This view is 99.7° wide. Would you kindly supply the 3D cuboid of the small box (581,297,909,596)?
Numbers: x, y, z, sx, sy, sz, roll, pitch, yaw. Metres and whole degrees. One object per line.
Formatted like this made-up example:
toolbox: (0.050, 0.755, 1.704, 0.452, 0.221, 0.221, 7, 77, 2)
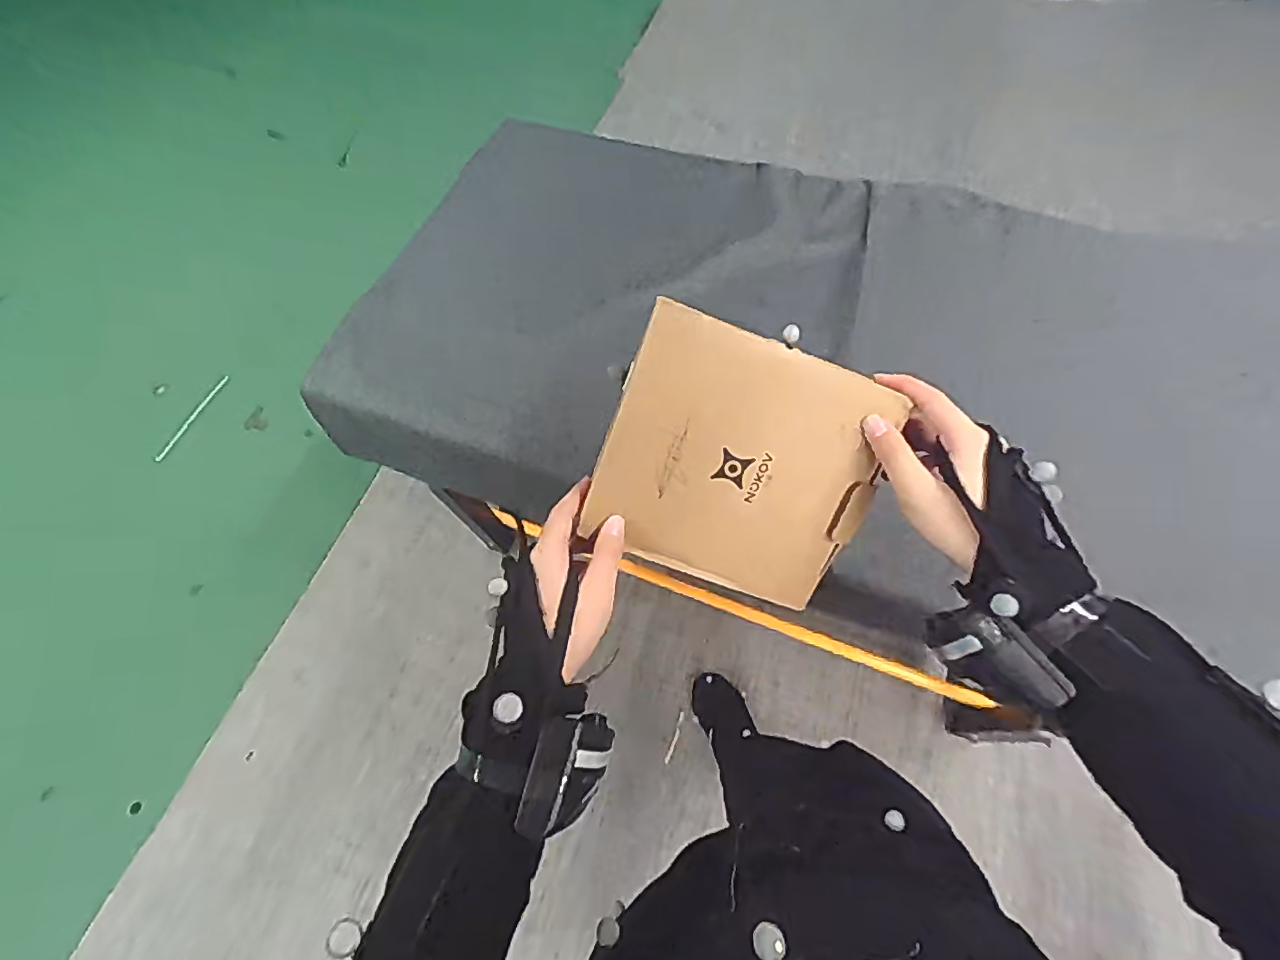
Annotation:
small box: (0.068, -0.038, 0.438, 0.179, 0.176, 0.168, 19, 106, -4)
